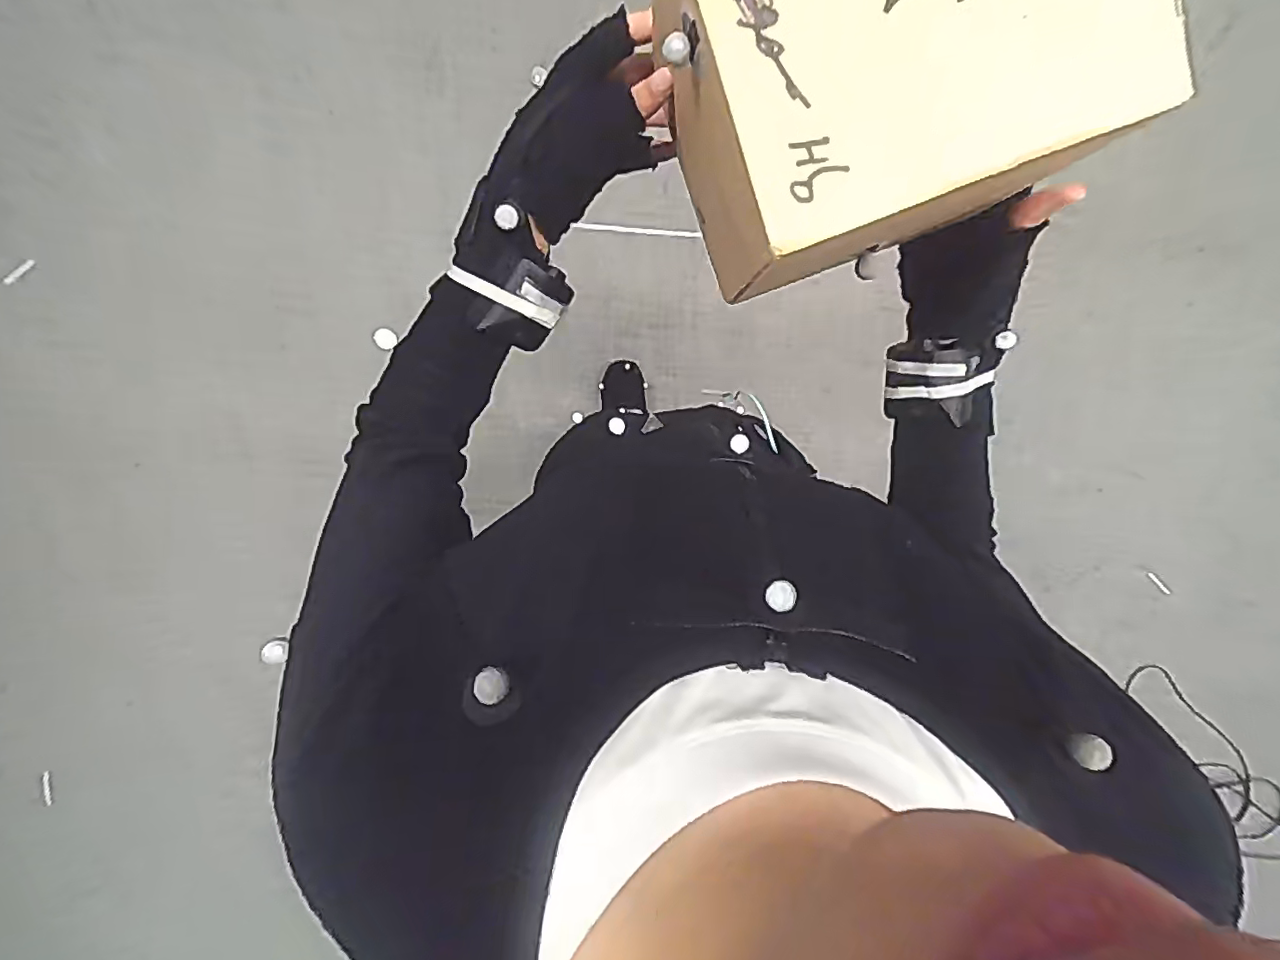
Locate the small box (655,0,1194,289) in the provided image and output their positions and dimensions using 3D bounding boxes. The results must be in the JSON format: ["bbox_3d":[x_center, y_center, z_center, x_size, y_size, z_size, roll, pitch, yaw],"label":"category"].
[{"bbox_3d":[0.114,-0.218,0.285,0.179,0.176,0.168,-19,100,5],"label":"small box"}]
